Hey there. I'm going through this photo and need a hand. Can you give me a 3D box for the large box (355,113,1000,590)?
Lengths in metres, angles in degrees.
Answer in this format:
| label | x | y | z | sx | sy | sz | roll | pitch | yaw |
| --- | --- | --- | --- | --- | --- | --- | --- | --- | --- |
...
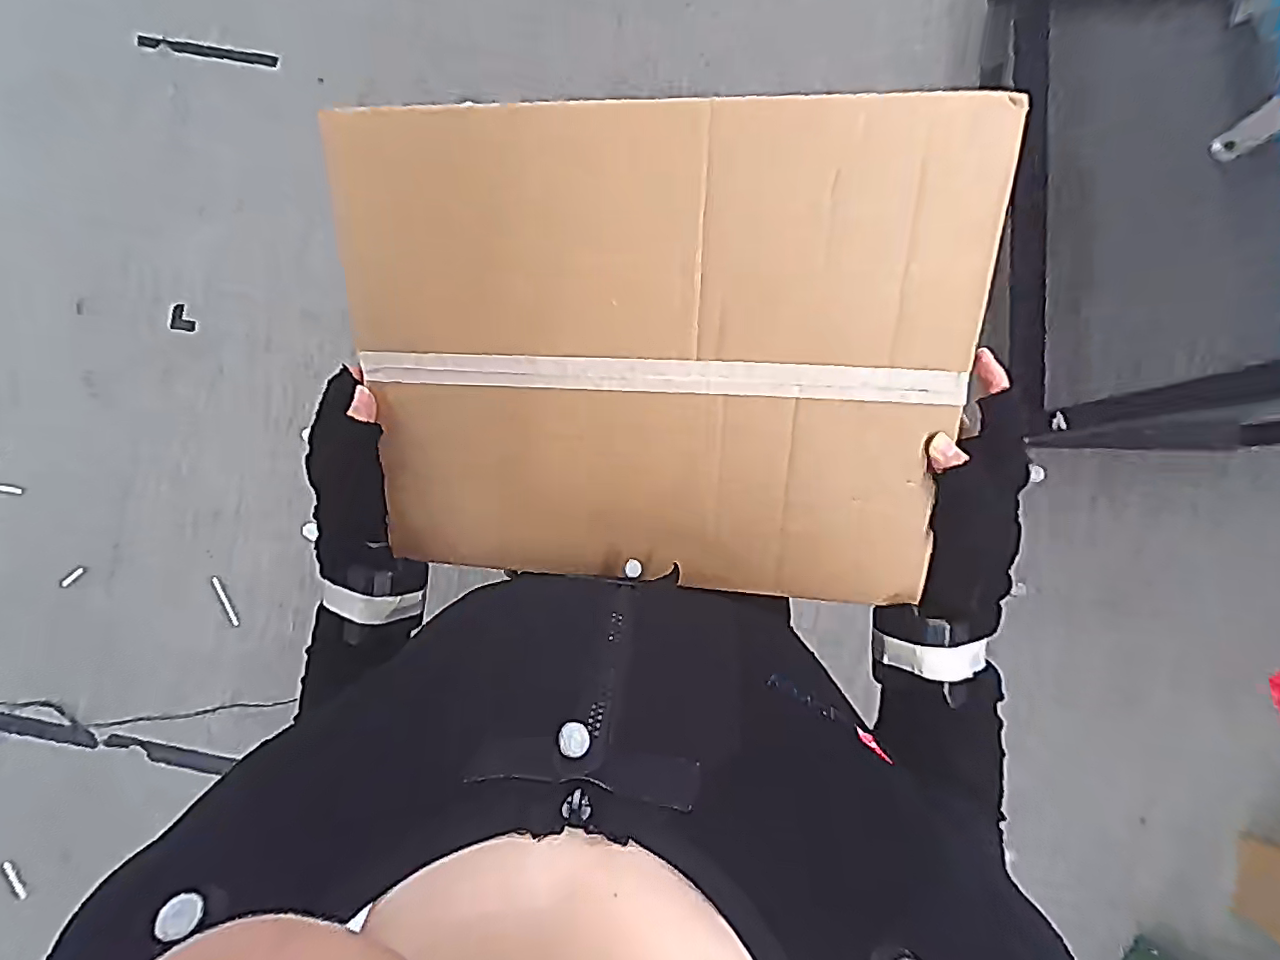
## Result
| label | x | y | z | sx | sy | sz | roll | pitch | yaw |
| --- | --- | --- | --- | --- | --- | --- | --- | --- | --- |
| large box | 0.026 | -0.118 | 0.516 | 0.408 | 0.320 | 0.320 | 4 | 111 | 8 |
